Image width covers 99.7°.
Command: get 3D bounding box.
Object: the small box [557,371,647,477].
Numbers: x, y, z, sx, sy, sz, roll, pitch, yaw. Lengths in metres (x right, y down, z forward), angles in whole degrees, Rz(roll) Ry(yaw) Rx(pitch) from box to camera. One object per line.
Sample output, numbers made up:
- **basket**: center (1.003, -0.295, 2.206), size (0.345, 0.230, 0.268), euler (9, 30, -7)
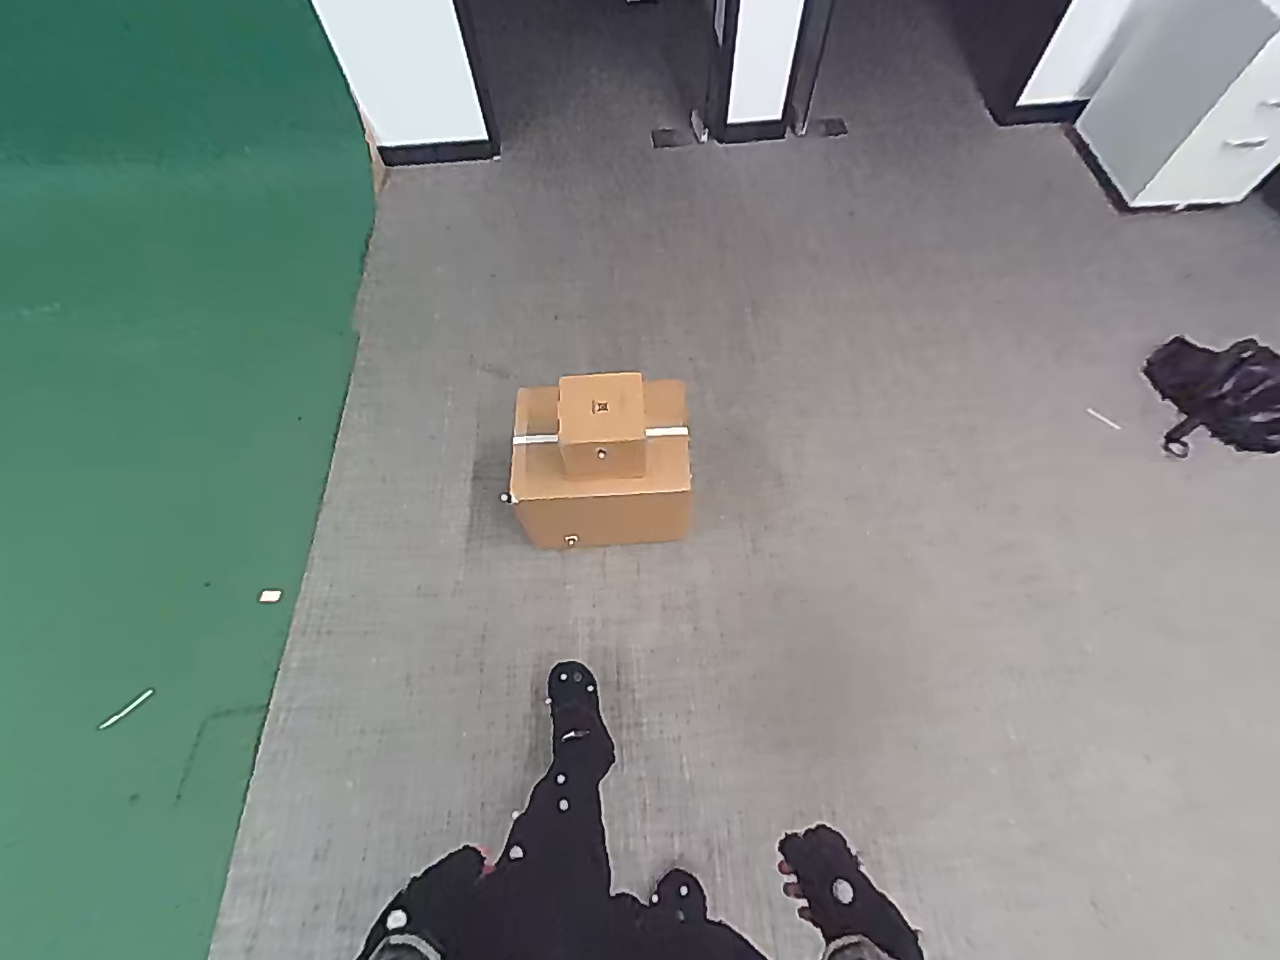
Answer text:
- **small box**: center (-0.078, -0.114, 1.167), size (0.179, 0.176, 0.168), euler (-4, 64, -1)
